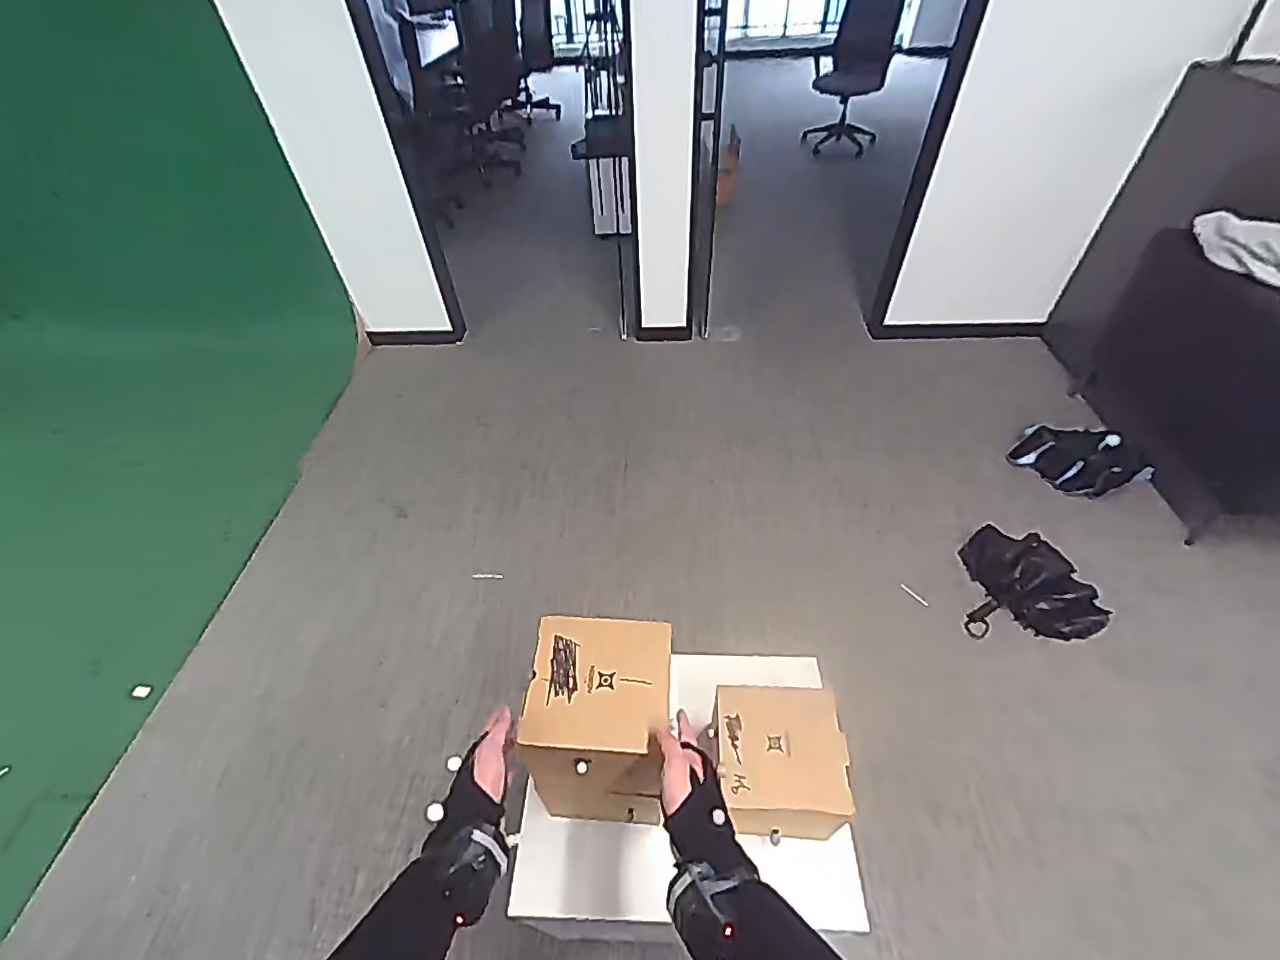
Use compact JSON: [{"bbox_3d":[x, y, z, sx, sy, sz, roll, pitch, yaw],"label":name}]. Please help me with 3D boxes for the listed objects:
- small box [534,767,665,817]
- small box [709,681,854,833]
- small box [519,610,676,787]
[{"bbox_3d":[-0.050,0.405,0.832,0.179,0.176,0.168,2,47,3],"label":"small box"},{"bbox_3d":[0.199,0.420,0.816,0.179,0.176,0.168,2,48,4],"label":"small box"},{"bbox_3d":[-0.046,0.291,0.714,0.179,0.176,0.168,4,47,2],"label":"small box"}]
